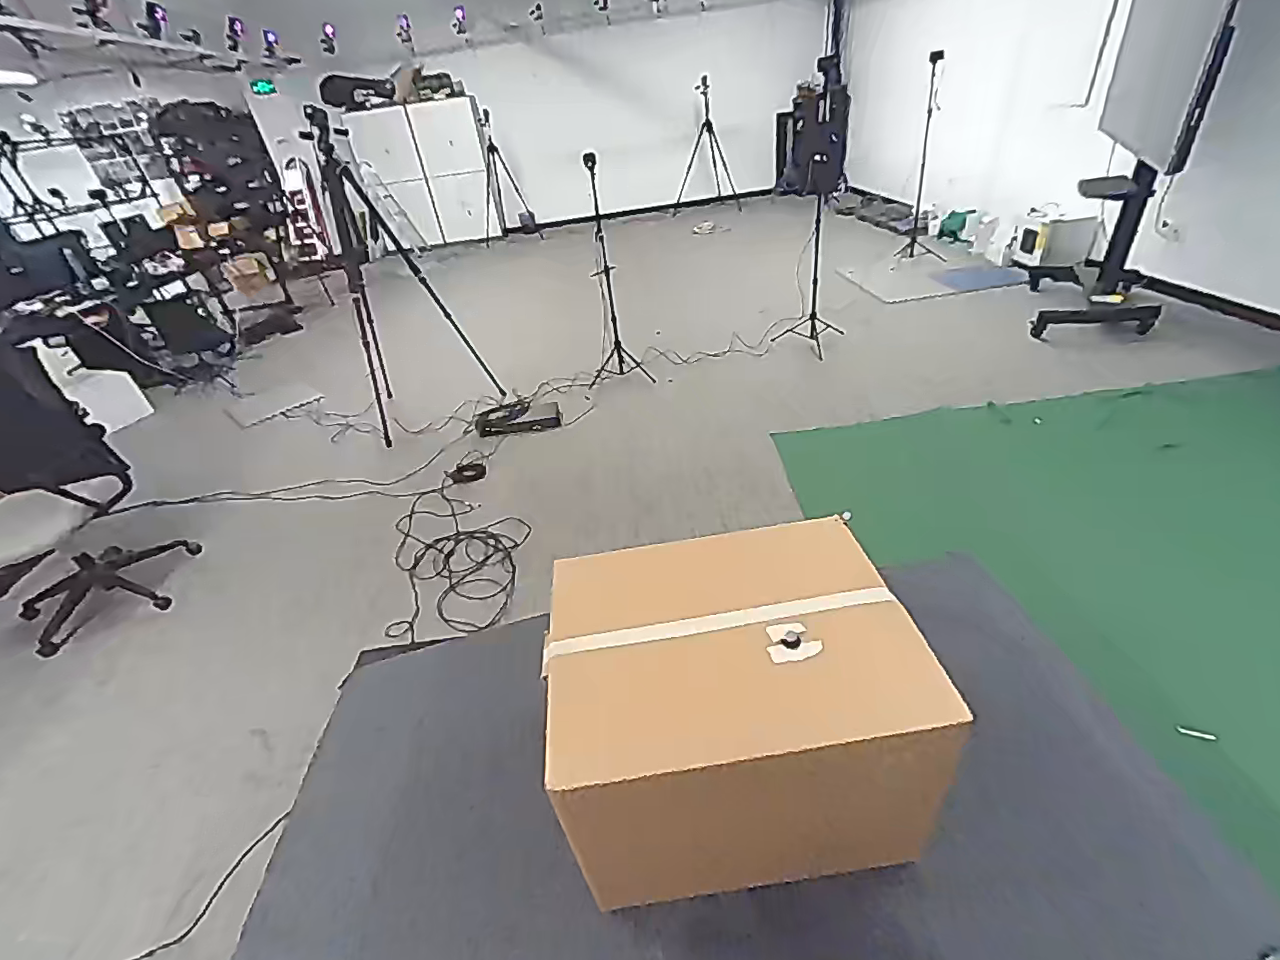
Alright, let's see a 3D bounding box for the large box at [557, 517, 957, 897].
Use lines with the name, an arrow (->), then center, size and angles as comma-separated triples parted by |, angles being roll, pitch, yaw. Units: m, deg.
large box -> 0.115, 0.290, 0.723 | 0.408, 0.320, 0.320 | -9, 35, -1
